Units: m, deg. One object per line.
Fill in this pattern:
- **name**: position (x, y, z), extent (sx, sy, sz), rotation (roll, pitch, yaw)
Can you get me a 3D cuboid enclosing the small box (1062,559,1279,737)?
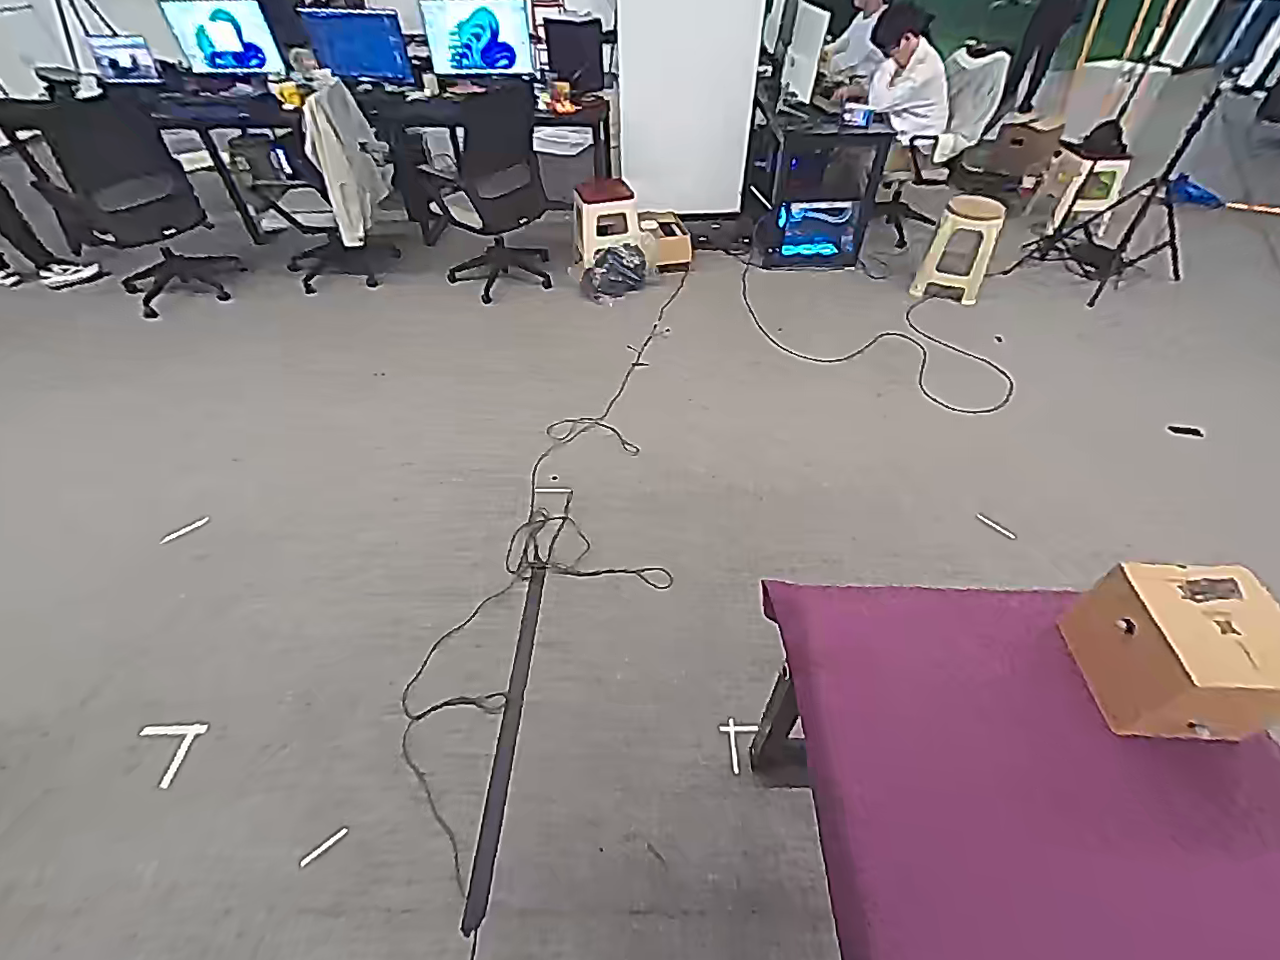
- **small box**: position (0.736, 0.230, 0.743), extent (0.168, 0.176, 0.179), rotation (1, 47, 4)
